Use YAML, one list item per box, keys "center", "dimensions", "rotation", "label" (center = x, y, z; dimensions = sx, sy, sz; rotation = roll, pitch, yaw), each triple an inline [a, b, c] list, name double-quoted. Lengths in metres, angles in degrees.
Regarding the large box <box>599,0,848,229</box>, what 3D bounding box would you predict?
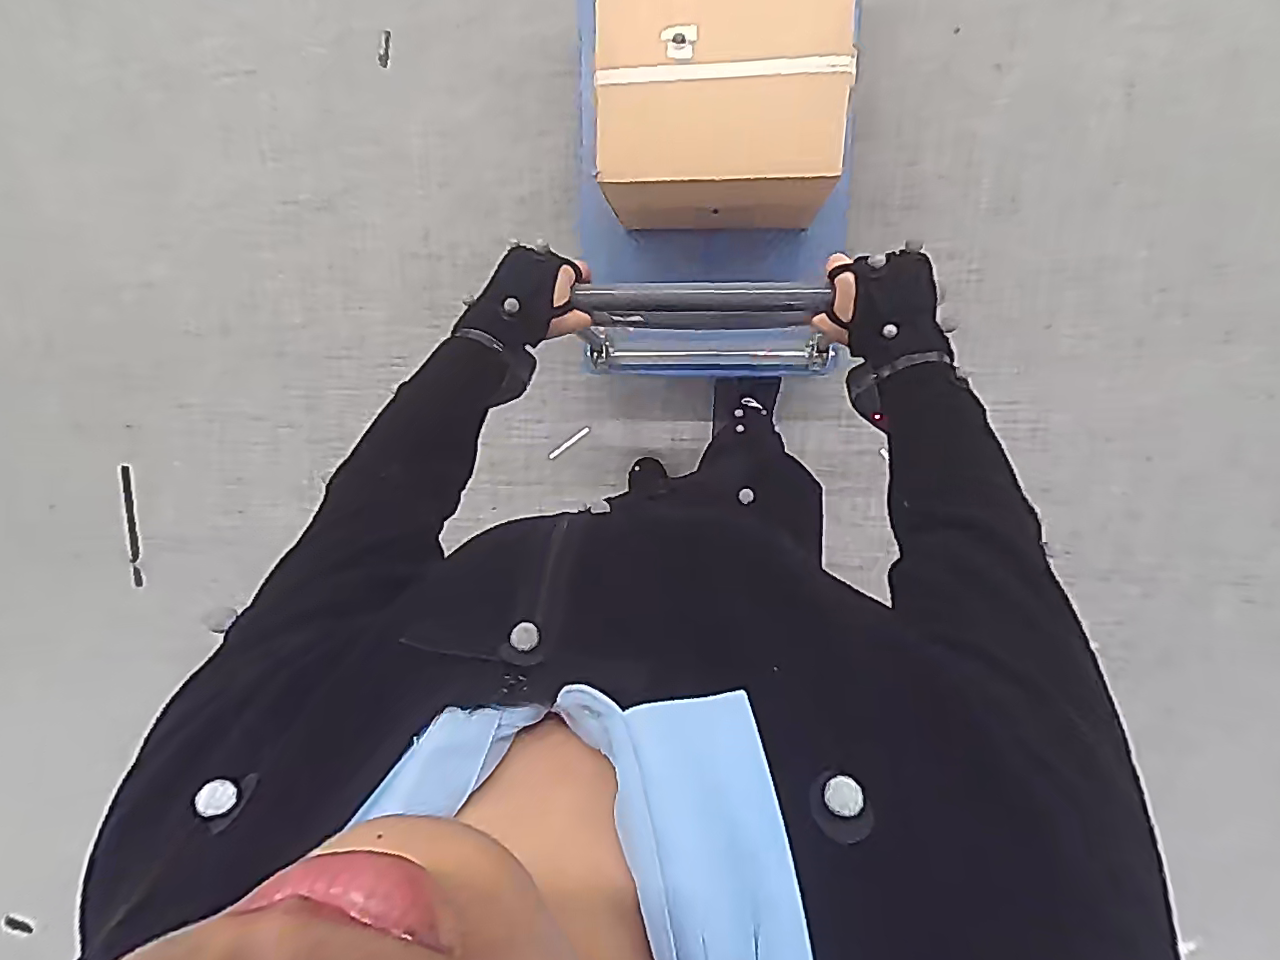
- center: [0.152, -0.686, 1.030]
  dimensions: [0.408, 0.320, 0.320]
  rotation: [2, 100, 8]
  label: "large box"
